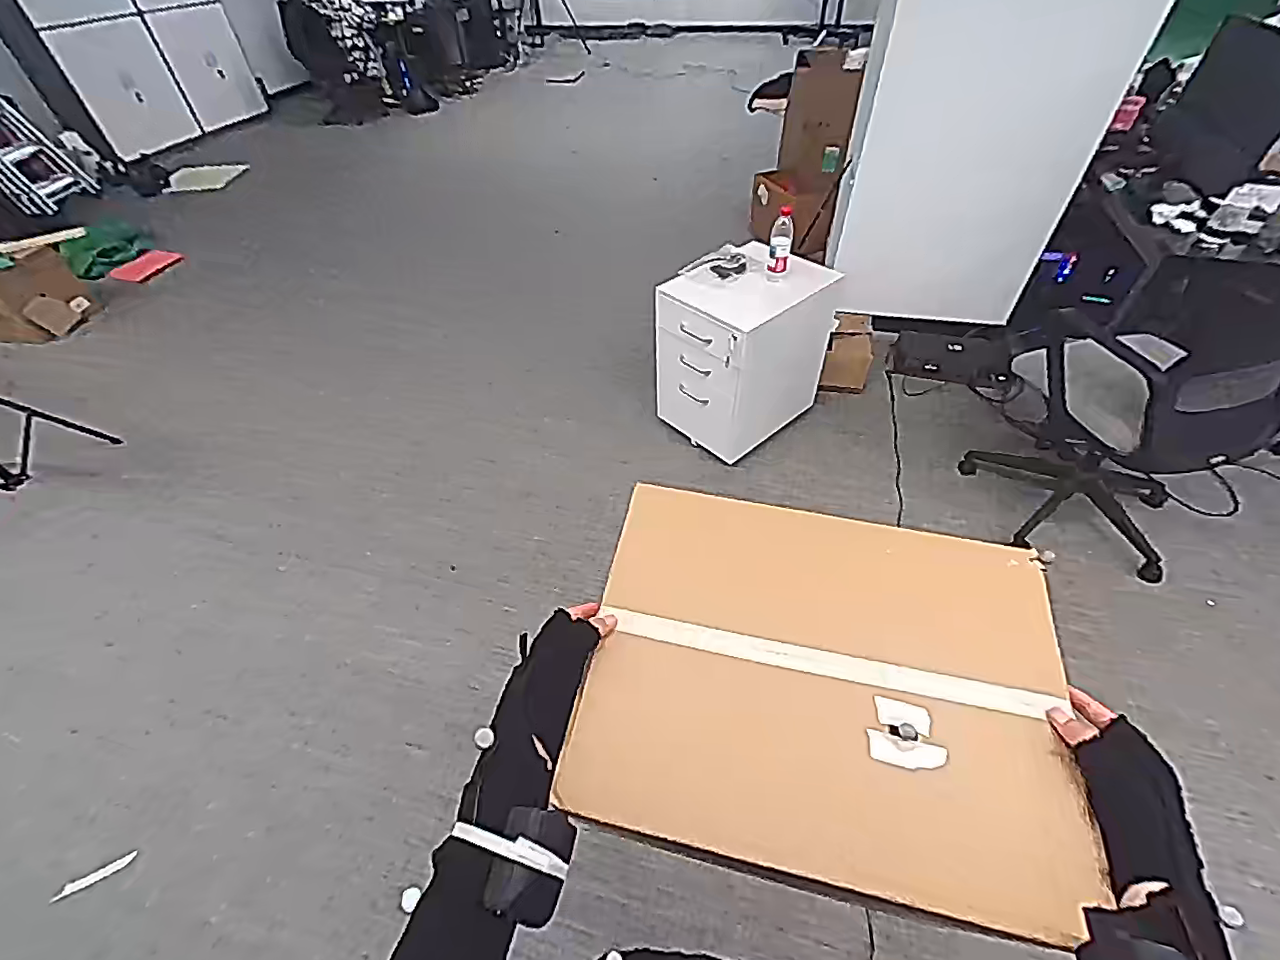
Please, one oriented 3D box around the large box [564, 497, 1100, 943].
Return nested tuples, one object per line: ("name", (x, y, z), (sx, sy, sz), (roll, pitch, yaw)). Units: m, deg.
("large box", (0.162, 0.257, 0.608), (0.408, 0.320, 0.320), (10, 56, 8))
